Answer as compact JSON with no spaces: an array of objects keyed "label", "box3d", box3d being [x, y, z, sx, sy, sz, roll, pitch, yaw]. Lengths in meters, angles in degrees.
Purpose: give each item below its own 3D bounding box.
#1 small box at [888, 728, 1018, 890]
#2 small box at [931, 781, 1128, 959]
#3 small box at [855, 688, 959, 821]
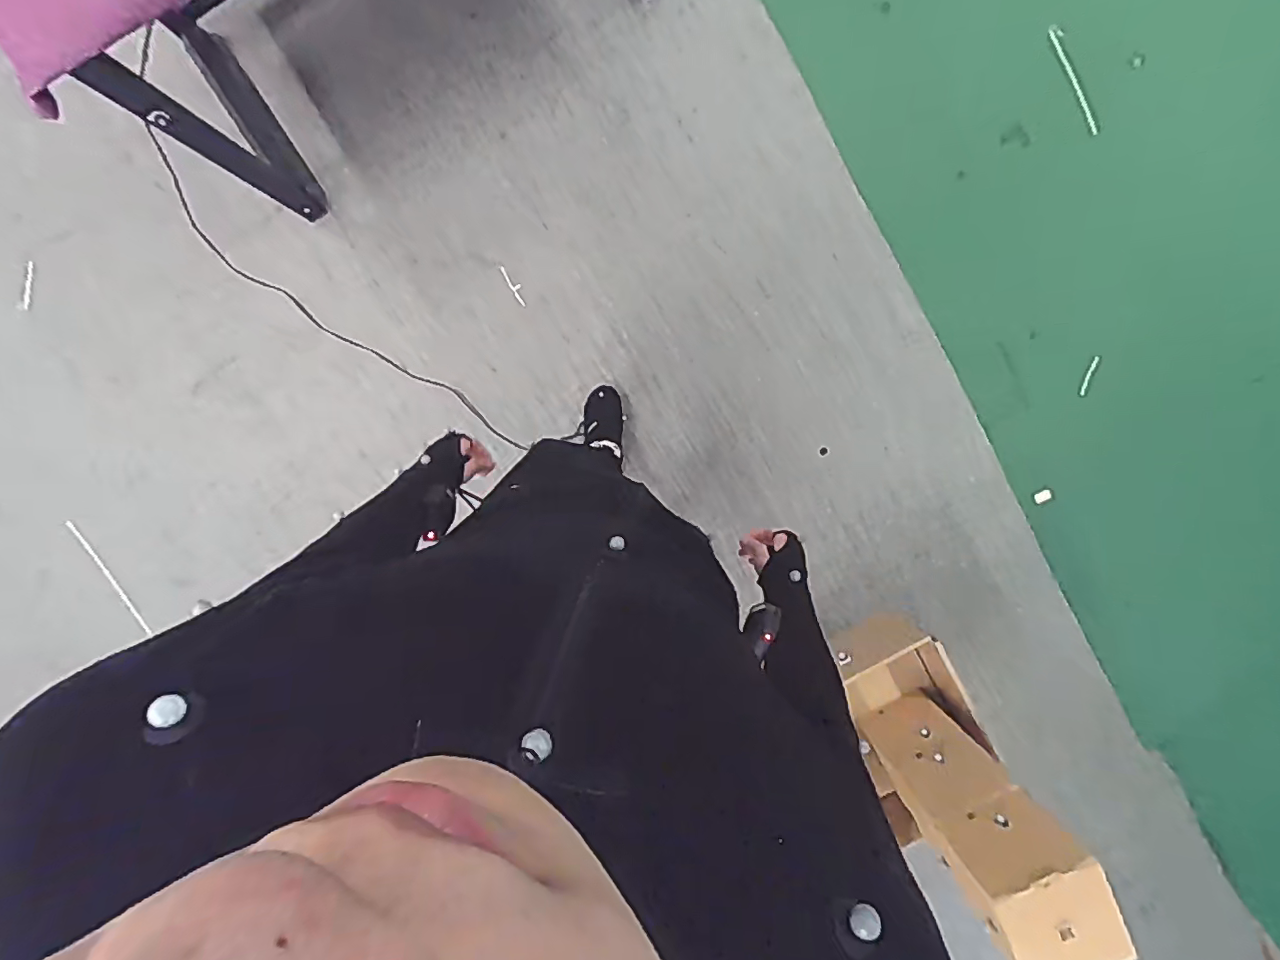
[{"label":"small box","box3d":[0.612,0.619,1.033,0.168,0.176,0.179,-26,96,1]},{"label":"small box","box3d":[0.613,0.637,0.873,0.168,0.176,0.179,-25,96,2]},{"label":"small box","box3d":[0.611,0.600,1.196,0.168,0.176,0.179,-28,96,3]}]
